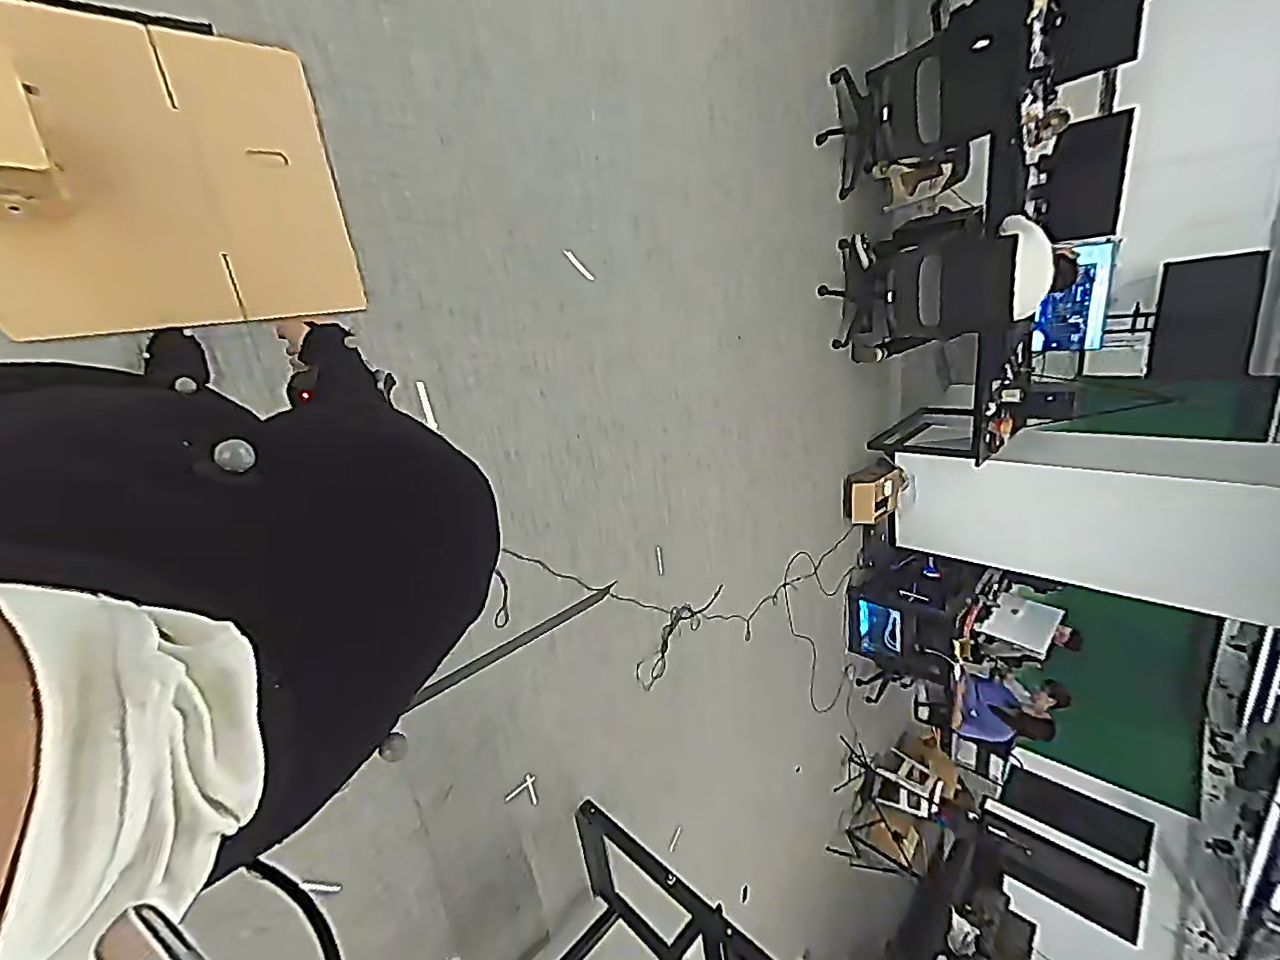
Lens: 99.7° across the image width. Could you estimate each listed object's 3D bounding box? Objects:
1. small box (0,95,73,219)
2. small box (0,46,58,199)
[{"bbox_3d":[-1.161,-0.577,0.967,0.168,0.176,0.179,-21,112,-40],"label":"small box"},{"bbox_3d":[-1.055,-0.559,0.841,0.168,0.176,0.179,-19,111,-40],"label":"small box"}]
